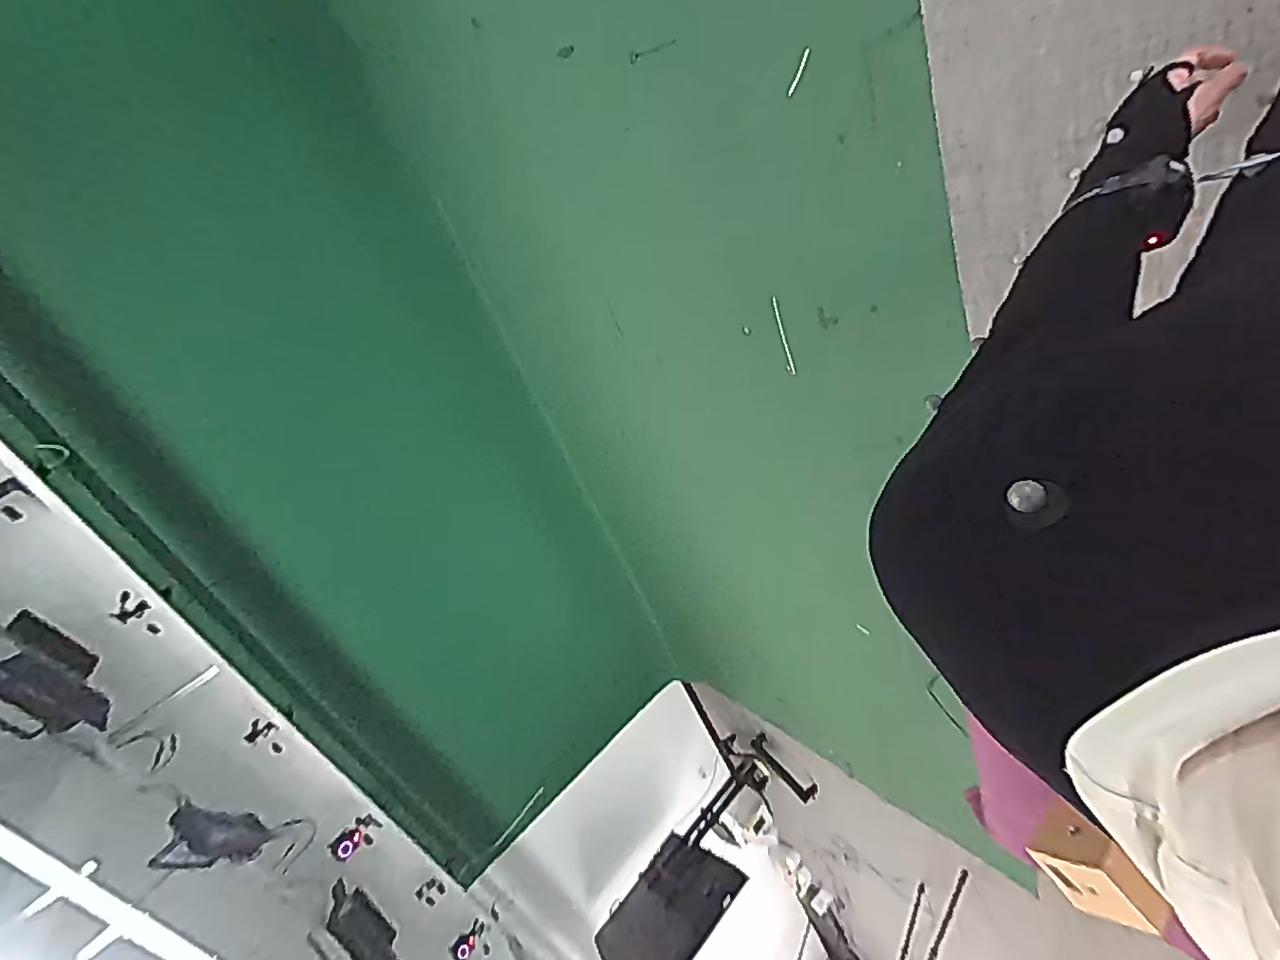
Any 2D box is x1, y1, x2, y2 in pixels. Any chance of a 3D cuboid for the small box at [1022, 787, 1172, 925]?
[{"bbox_3d":[1.017,0.821,1.207,0.168,0.176,0.179,48,153,5],"label":"small box"}]
